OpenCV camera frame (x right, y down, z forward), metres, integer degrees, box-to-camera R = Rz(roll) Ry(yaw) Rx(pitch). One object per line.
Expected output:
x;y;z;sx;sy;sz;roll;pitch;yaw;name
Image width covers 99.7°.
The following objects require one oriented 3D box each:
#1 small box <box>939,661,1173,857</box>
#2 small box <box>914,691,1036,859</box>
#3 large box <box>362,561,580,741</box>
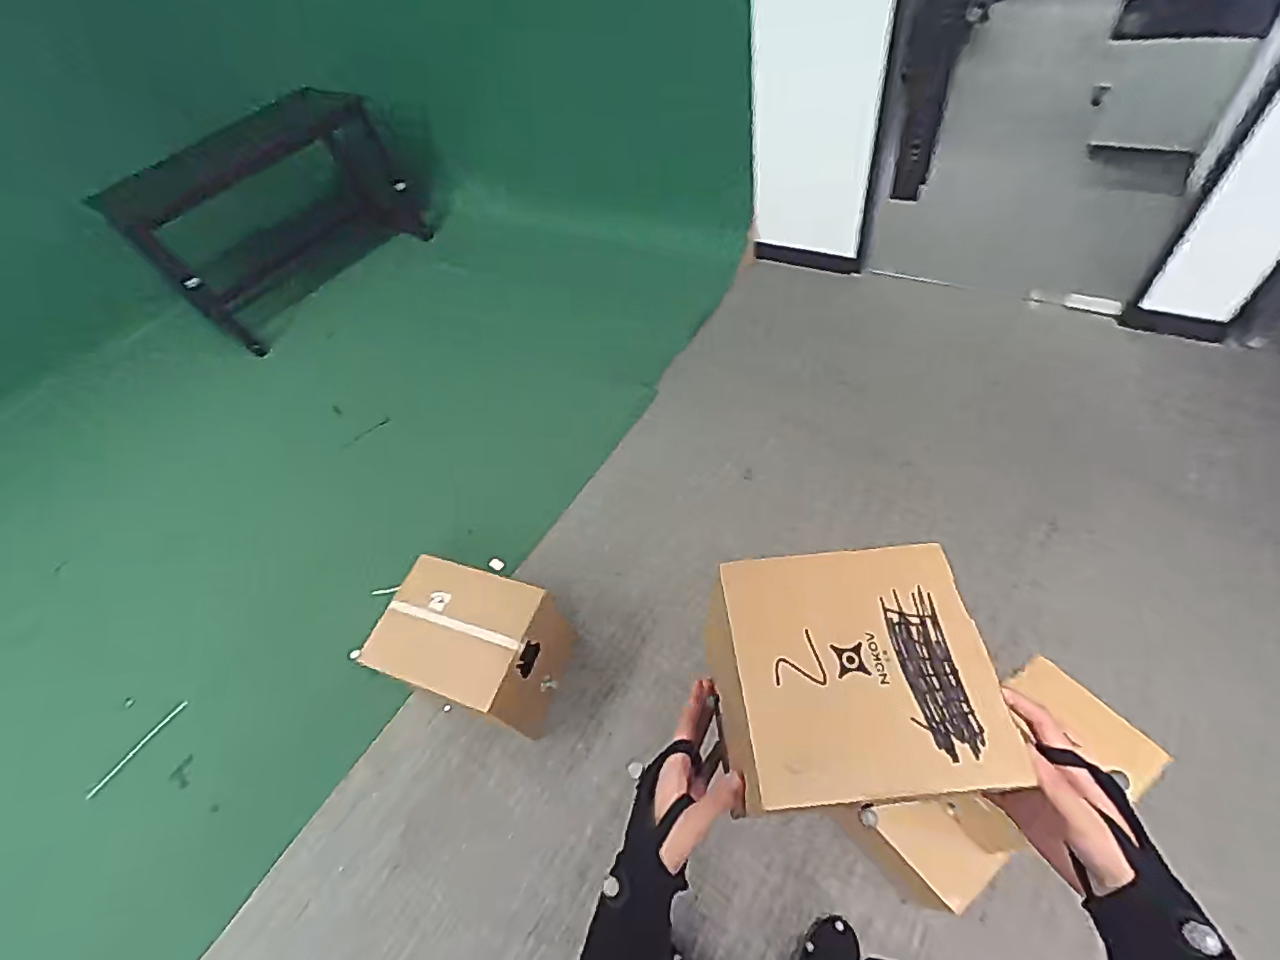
0.571;0.400;0.771;0.168;0.176;0.179;-33;53;-15;small box
0.592;0.493;0.903;0.179;0.176;0.168;-34;54;-15;small box
-0.430;0.463;1.466;0.408;0.320;0.320;11;56;21;large box
